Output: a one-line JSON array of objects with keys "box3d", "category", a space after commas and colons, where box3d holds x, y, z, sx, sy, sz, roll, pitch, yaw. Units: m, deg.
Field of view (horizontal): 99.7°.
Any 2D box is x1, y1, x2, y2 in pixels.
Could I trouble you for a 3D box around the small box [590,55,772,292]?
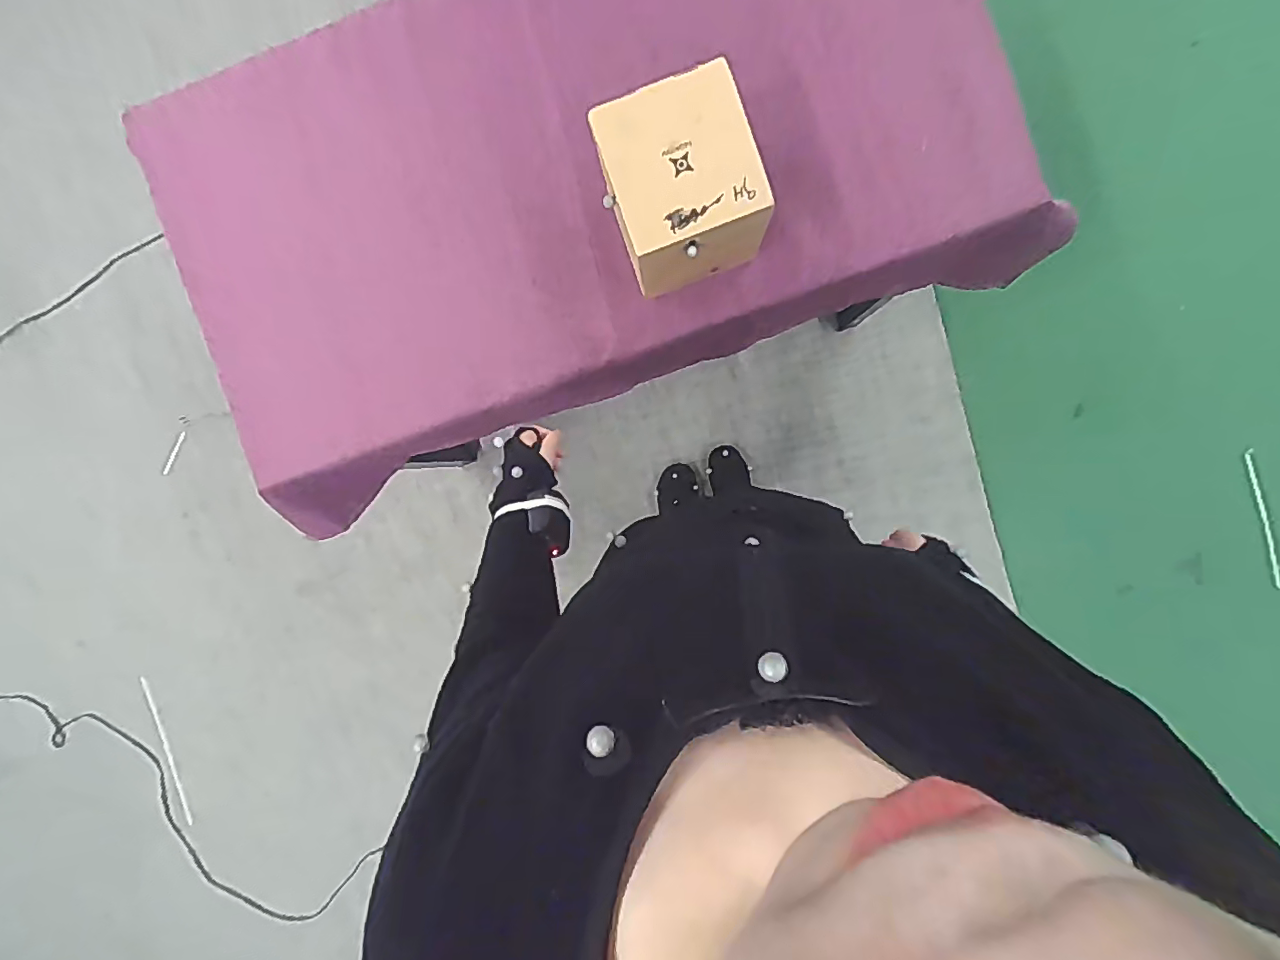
[{"box3d": [0.051, -0.367, 0.683, 0.168, 0.176, 0.179, -19, 91, 6], "category": "small box"}]
